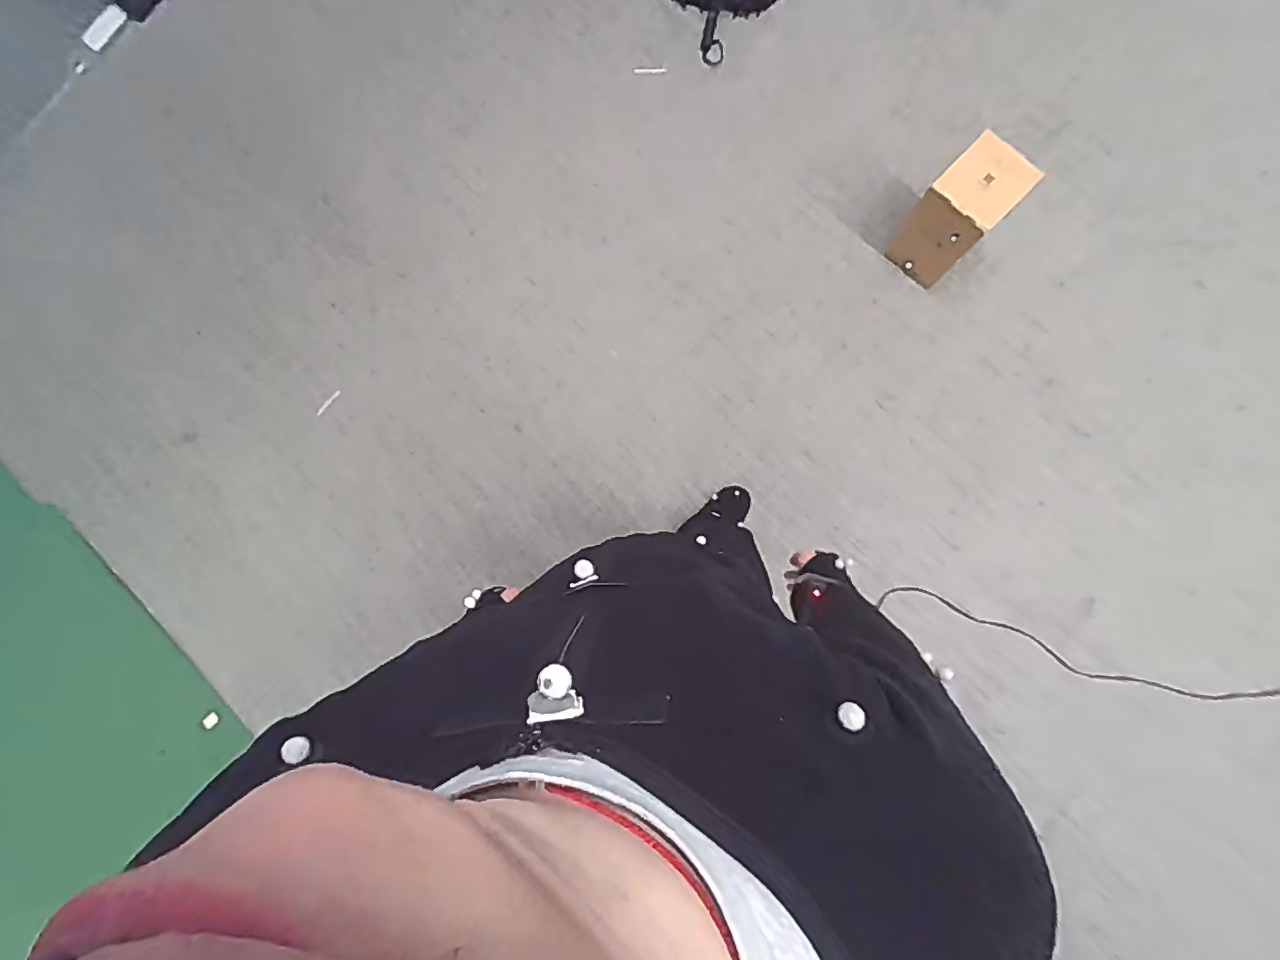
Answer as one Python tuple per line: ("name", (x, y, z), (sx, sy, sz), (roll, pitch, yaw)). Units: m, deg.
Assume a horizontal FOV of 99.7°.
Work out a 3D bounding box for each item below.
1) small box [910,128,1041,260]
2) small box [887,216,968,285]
("small box", (0.768, -0.656, 1.267), (0.168, 0.176, 0.179), (44, 92, 5))
("small box", (0.790, -0.654, 1.427), (0.168, 0.176, 0.179), (43, 94, 6))
